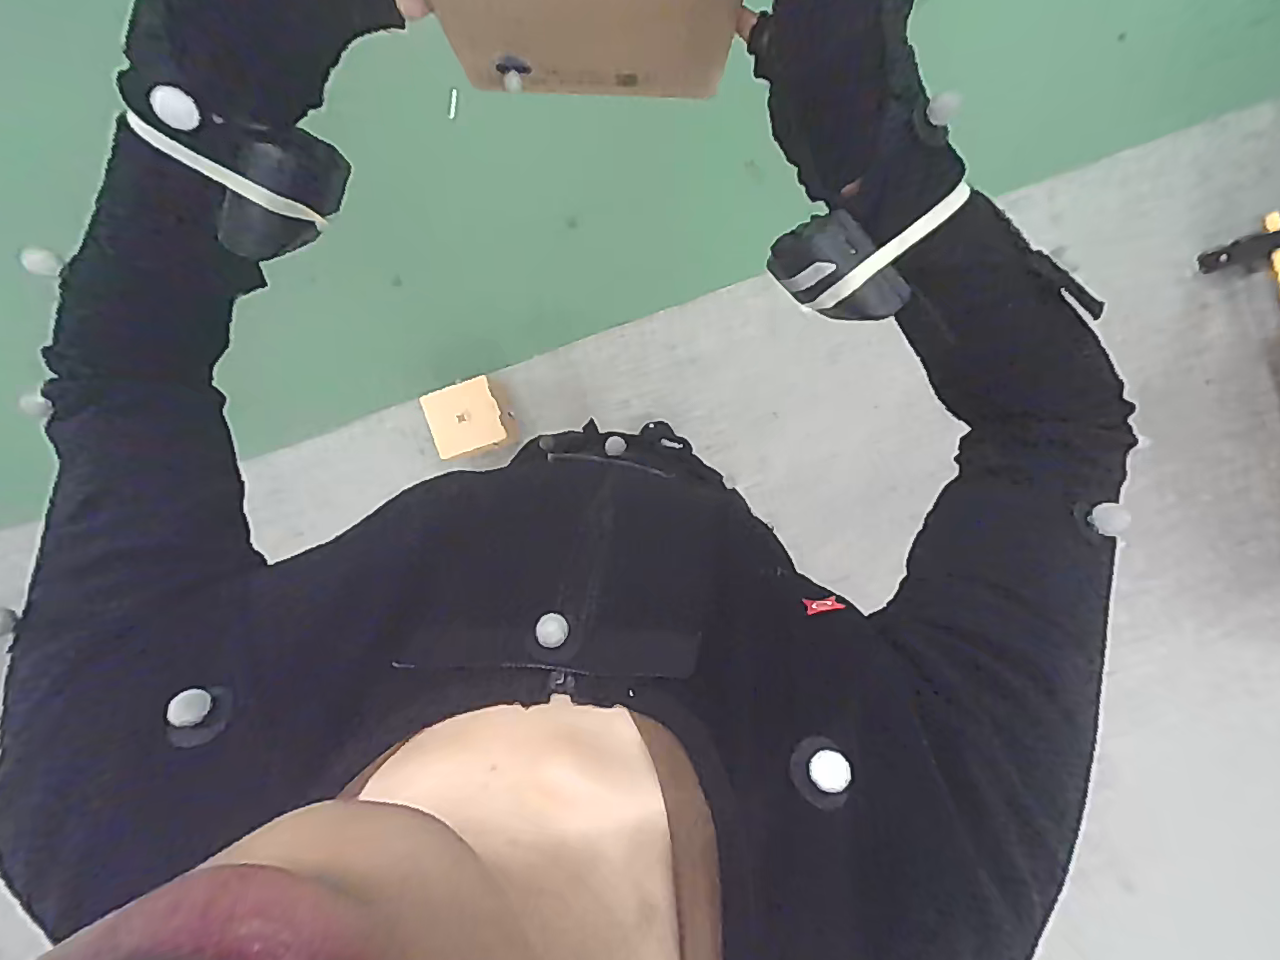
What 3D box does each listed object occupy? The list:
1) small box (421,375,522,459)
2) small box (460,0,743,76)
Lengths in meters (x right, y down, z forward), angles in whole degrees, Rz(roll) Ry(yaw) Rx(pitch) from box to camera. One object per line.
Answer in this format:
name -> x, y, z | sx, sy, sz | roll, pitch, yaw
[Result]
small box -> -0.426, -0.157, 1.395 | 0.179, 0.176, 0.168 | -19, 94, 2
small box -> -0.020, -0.341, 0.269 | 0.168, 0.176, 0.179 | 2, 98, -1
